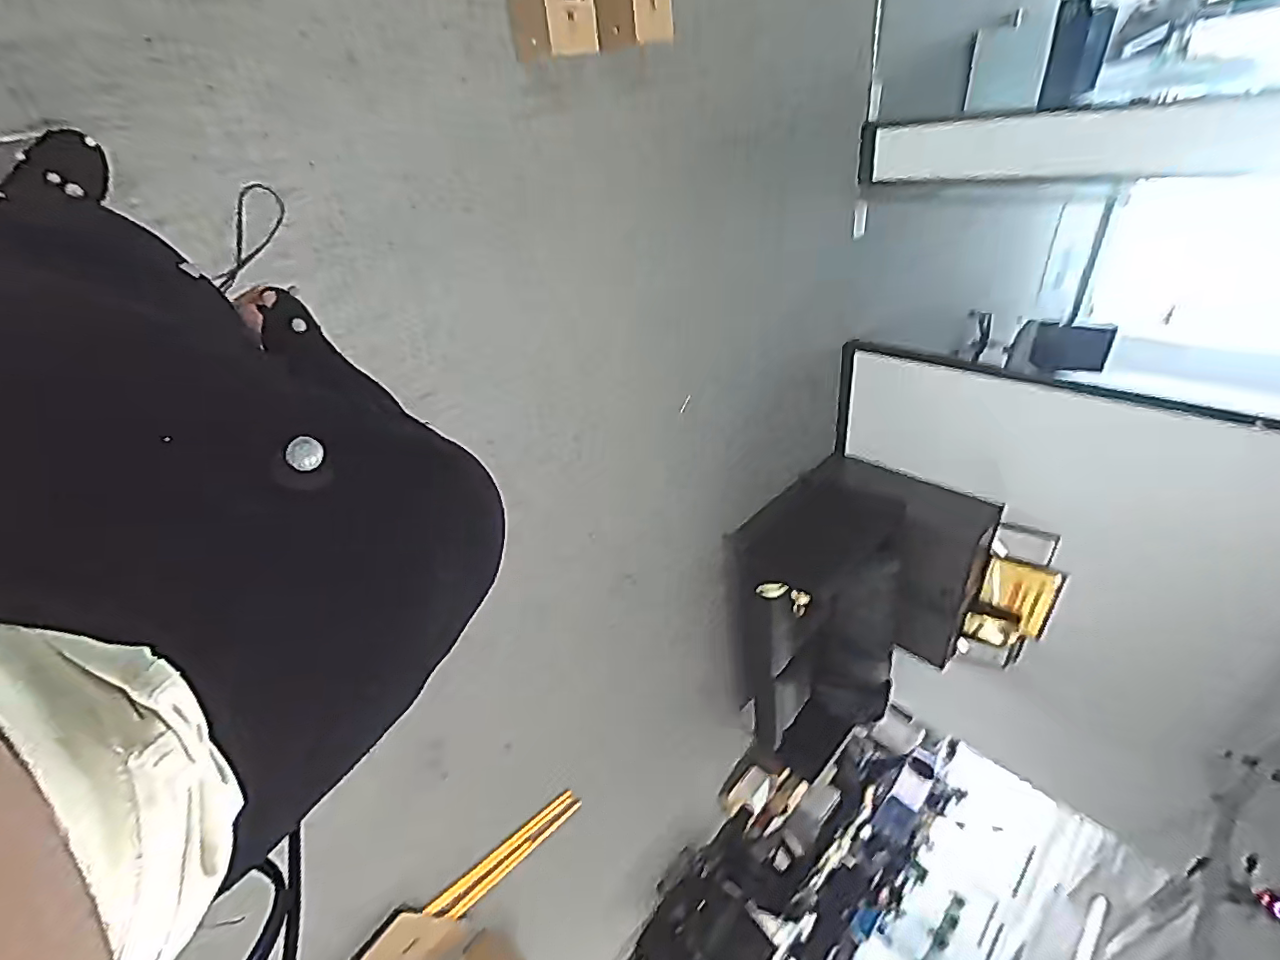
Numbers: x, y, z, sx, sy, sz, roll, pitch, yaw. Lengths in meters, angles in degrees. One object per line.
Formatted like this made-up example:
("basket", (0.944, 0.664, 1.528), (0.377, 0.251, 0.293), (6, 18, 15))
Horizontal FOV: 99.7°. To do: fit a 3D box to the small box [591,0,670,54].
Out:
("small box", (-0.030, -1.414, 1.639), (0.168, 0.176, 0.179), (-34, 132, -32))
